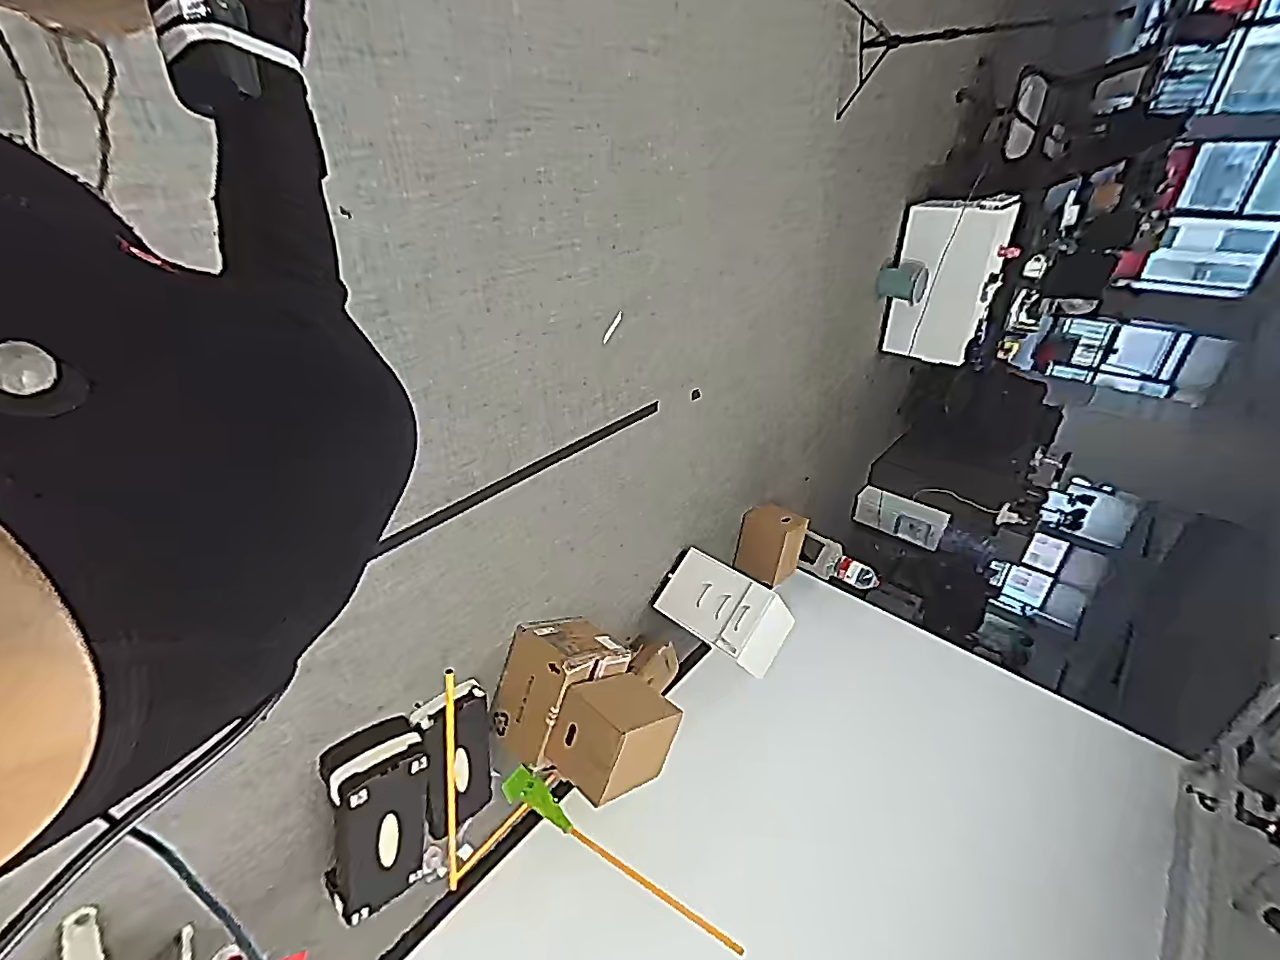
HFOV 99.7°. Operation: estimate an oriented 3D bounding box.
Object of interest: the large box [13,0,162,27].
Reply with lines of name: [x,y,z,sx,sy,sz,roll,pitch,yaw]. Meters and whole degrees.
large box: [-0.528,-0.498,0.264,0.408,0.320,0.320,-19,126,-48]
